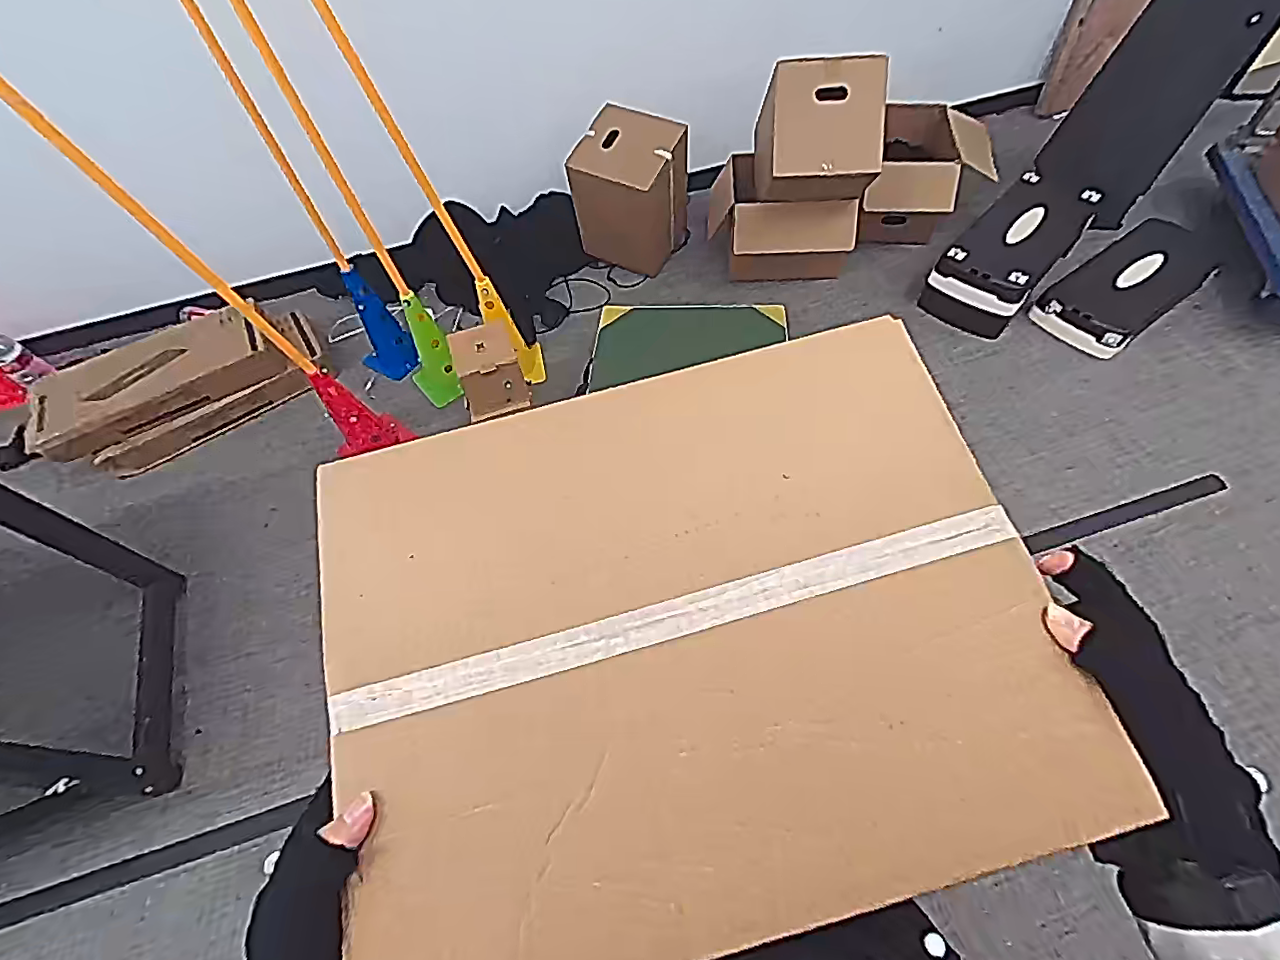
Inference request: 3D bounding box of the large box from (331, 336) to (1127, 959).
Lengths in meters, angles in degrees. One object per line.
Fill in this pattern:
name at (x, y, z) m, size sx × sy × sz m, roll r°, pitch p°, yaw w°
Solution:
large box at (0.033, 0.140, 0.458) m, size 0.408 × 0.320 × 0.320 m, roll -16°, pitch 68°, yaw -2°
